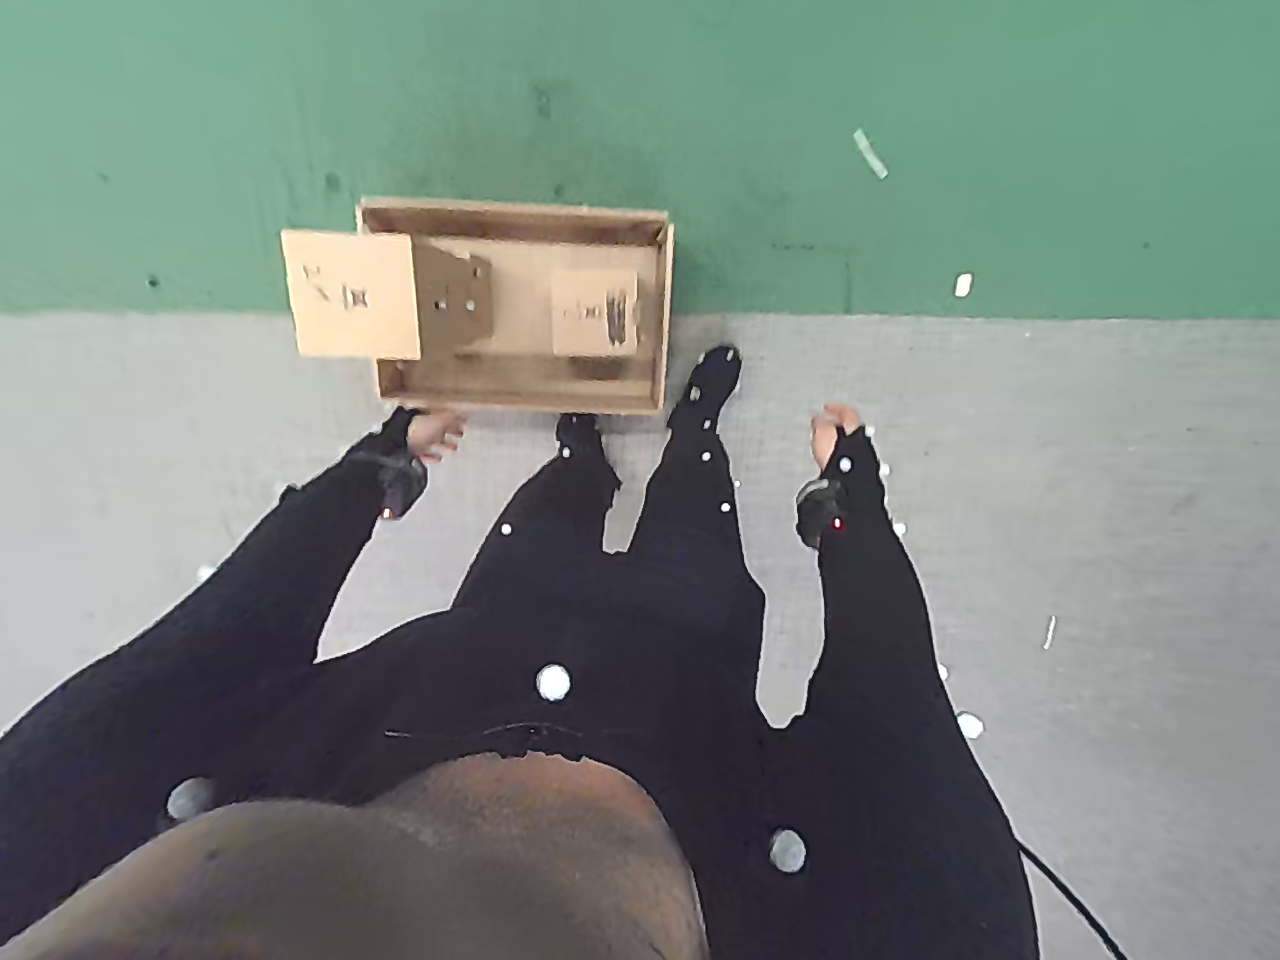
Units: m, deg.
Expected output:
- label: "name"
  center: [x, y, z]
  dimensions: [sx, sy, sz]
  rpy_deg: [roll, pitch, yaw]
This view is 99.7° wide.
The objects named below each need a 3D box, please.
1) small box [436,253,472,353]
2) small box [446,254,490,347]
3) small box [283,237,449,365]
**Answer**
- label: "small box"
  center: [-0.419, -0.323, 0.988]
  dimensions: [0.179, 0.176, 0.168]
  rpy_deg: [1, 108, -4]
- label: "small box"
  center: [-0.420, -0.380, 1.142]
  dimensions: [0.168, 0.176, 0.179]
  rpy_deg: [0, 108, -3]
- label: "small box"
  center: [-0.402, -0.271, 0.832]
  dimensions: [0.179, 0.176, 0.168]
  rpy_deg: [1, 107, -3]
